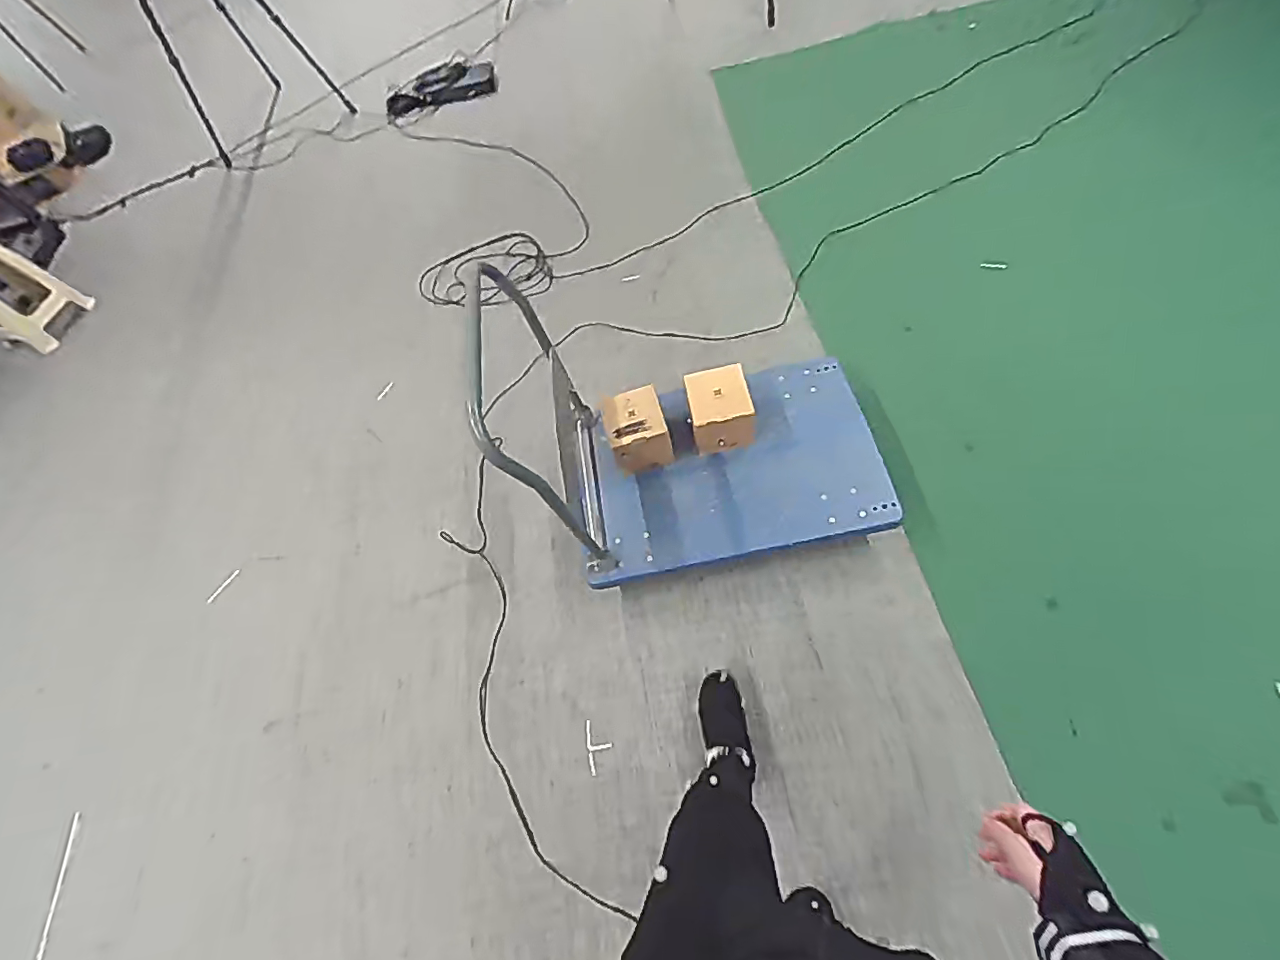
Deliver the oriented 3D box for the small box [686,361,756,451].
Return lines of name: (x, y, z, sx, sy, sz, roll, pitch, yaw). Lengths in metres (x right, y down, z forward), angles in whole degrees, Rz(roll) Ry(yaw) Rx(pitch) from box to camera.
small box: (0.229, -0.208, 1.552, 0.168, 0.176, 0.179, -12, 63, 4)
